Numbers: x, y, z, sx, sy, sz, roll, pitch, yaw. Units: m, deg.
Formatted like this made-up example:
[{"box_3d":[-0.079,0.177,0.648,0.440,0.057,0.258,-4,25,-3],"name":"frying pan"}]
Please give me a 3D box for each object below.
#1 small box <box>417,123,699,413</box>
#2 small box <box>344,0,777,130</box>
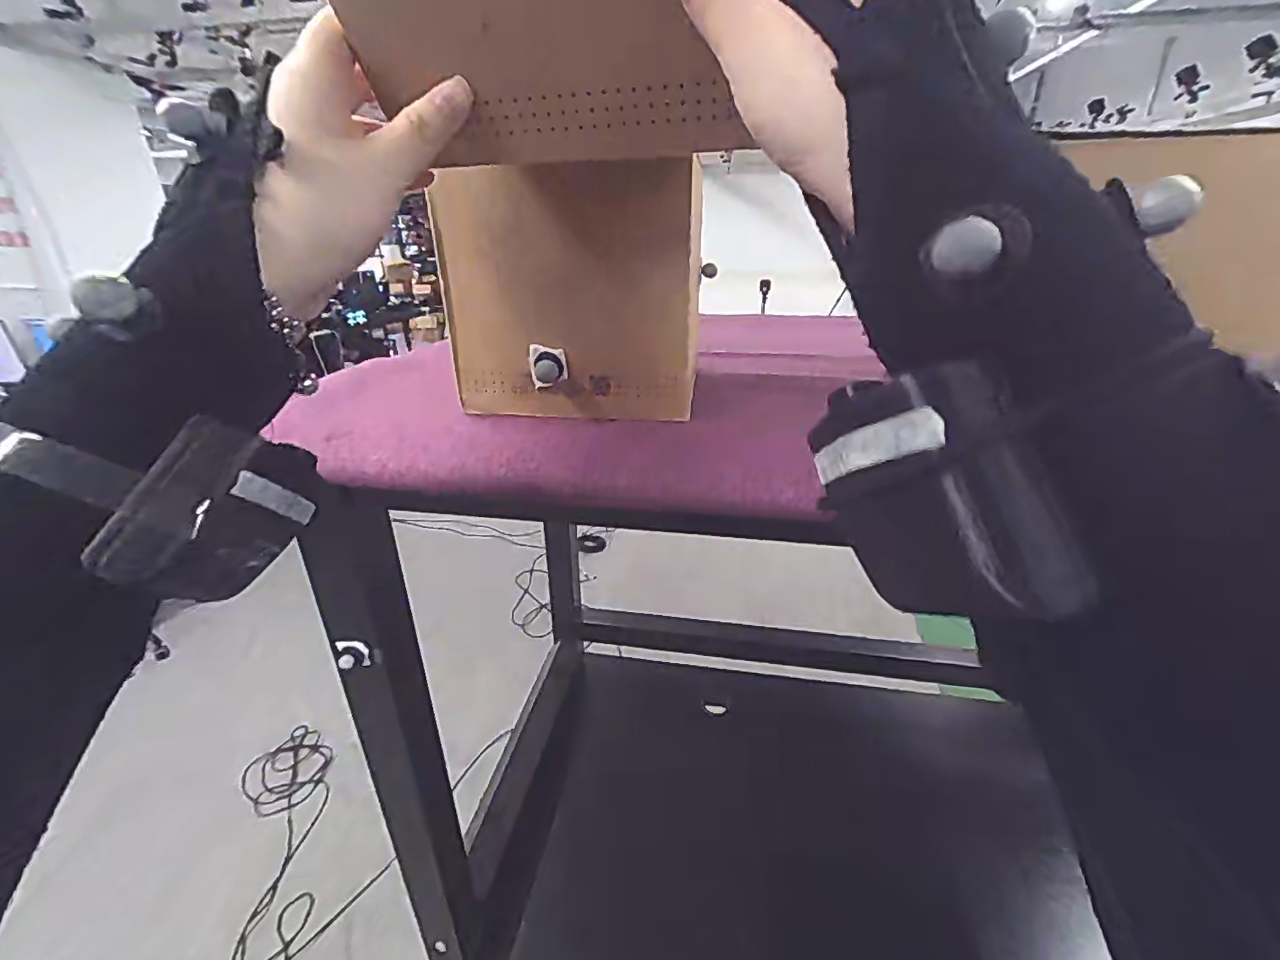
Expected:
[{"box_3d":[-0.041,-0.159,0.414,0.168,0.176,0.179,1,26,6],"name":"small box"},{"box_3d":[-0.032,-0.267,0.213,0.179,0.176,0.168,2,61,9],"name":"small box"}]
